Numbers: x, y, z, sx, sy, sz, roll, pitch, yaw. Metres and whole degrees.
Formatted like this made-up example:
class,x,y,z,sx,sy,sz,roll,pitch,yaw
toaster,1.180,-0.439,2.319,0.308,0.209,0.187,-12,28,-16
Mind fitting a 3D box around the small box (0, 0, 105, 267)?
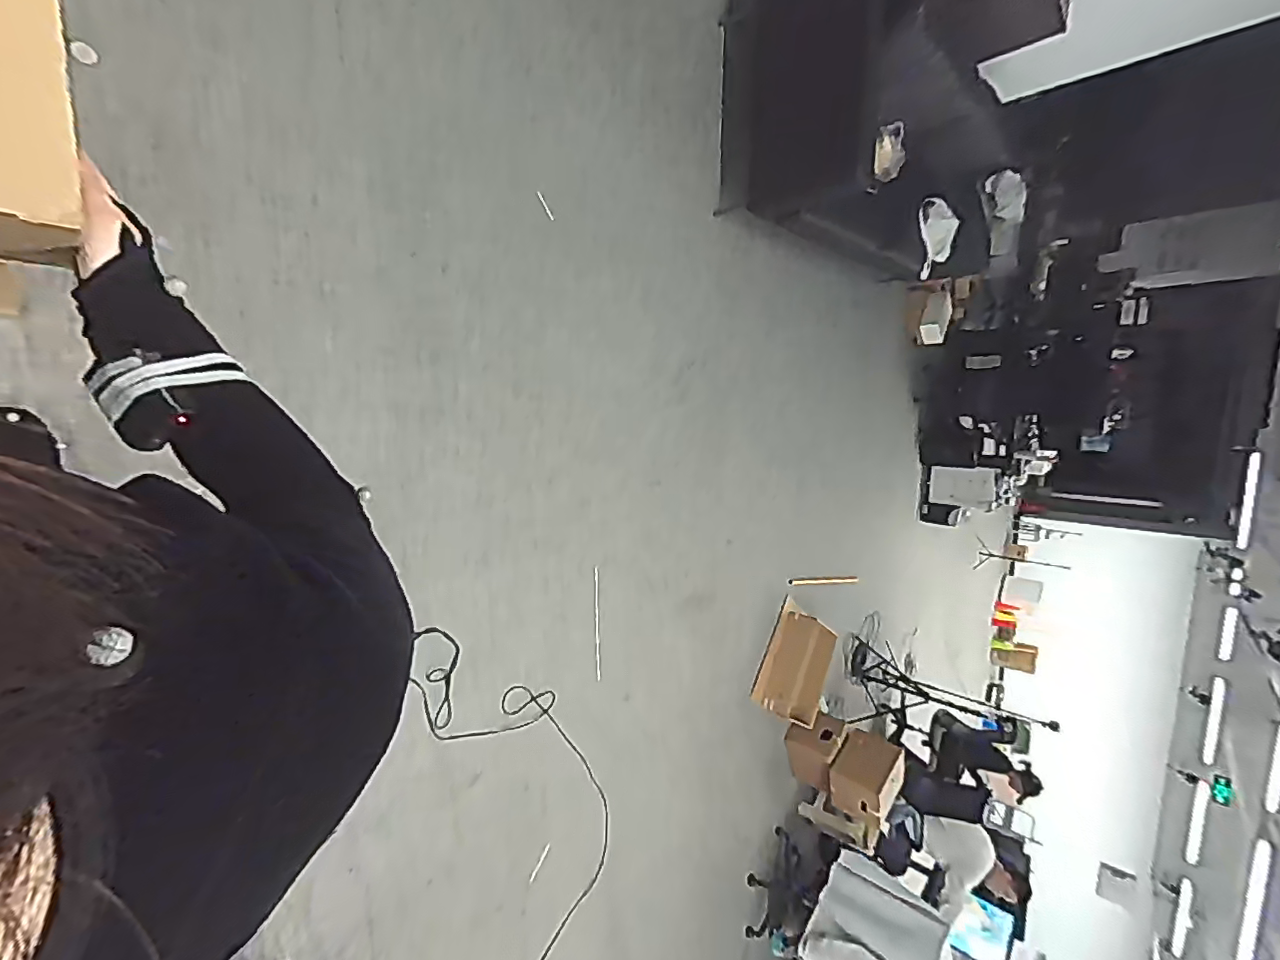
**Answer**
class,x,y,z,sx,sy,sz,roll,pitch,yaw
small box,-0.468,-0.251,0.341,0.168,0.176,0.179,-9,102,-46
